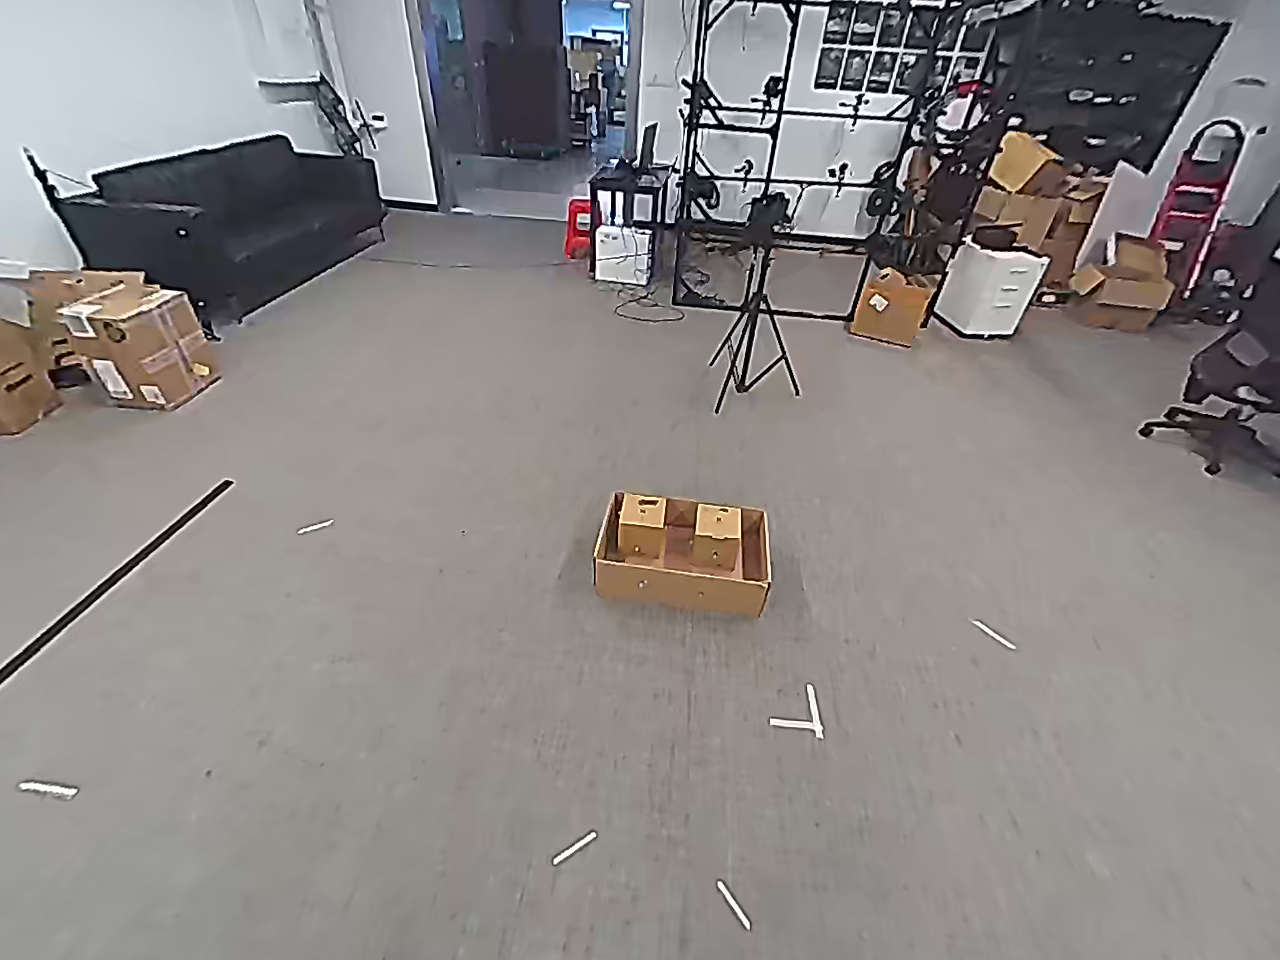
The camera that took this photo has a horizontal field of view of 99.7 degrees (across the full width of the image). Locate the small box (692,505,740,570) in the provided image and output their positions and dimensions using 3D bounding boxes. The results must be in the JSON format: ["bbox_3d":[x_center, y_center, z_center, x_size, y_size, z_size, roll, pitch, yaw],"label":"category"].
[{"bbox_3d":[0.289,0.222,2.063,0.168,0.176,0.179,6,39,7],"label":"small box"}]
